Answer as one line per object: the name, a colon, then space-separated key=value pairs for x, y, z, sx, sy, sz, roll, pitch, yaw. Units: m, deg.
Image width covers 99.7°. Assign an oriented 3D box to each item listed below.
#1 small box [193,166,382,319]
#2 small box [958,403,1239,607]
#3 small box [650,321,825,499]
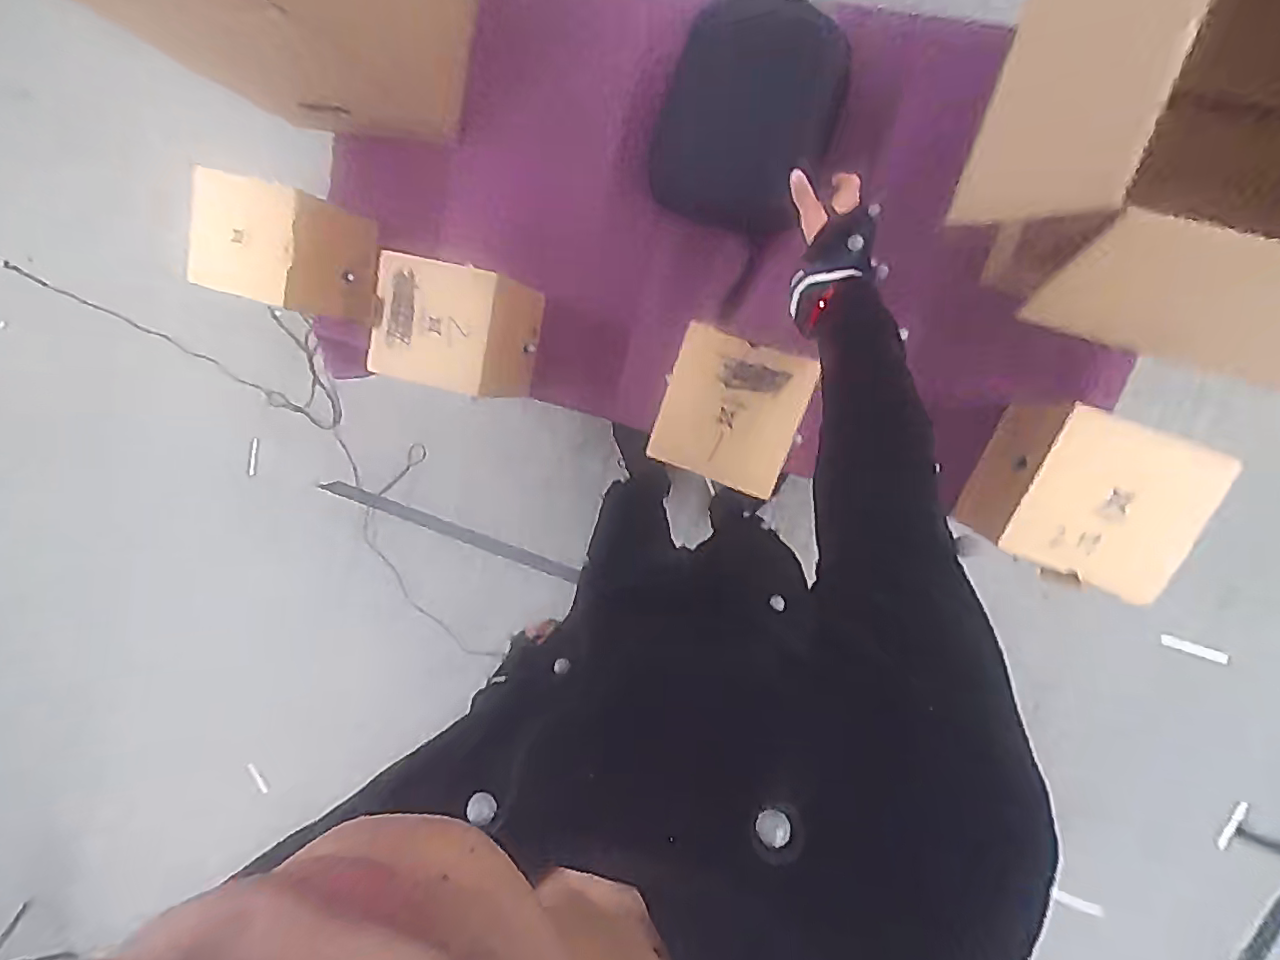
small box: x=-0.547 y=-0.361 z=0.852 sx=0.179 sy=0.176 sz=0.168 roll=17 pitch=102 yaw=9
small box: x=0.523 y=0.017 z=0.655 sx=0.168 sy=0.176 sz=0.179 roll=24 pitch=103 yaw=10
small box: x=0.131 y=-0.096 z=0.733 sx=0.168 sy=0.176 sz=0.179 roll=21 pitch=103 yaw=10
